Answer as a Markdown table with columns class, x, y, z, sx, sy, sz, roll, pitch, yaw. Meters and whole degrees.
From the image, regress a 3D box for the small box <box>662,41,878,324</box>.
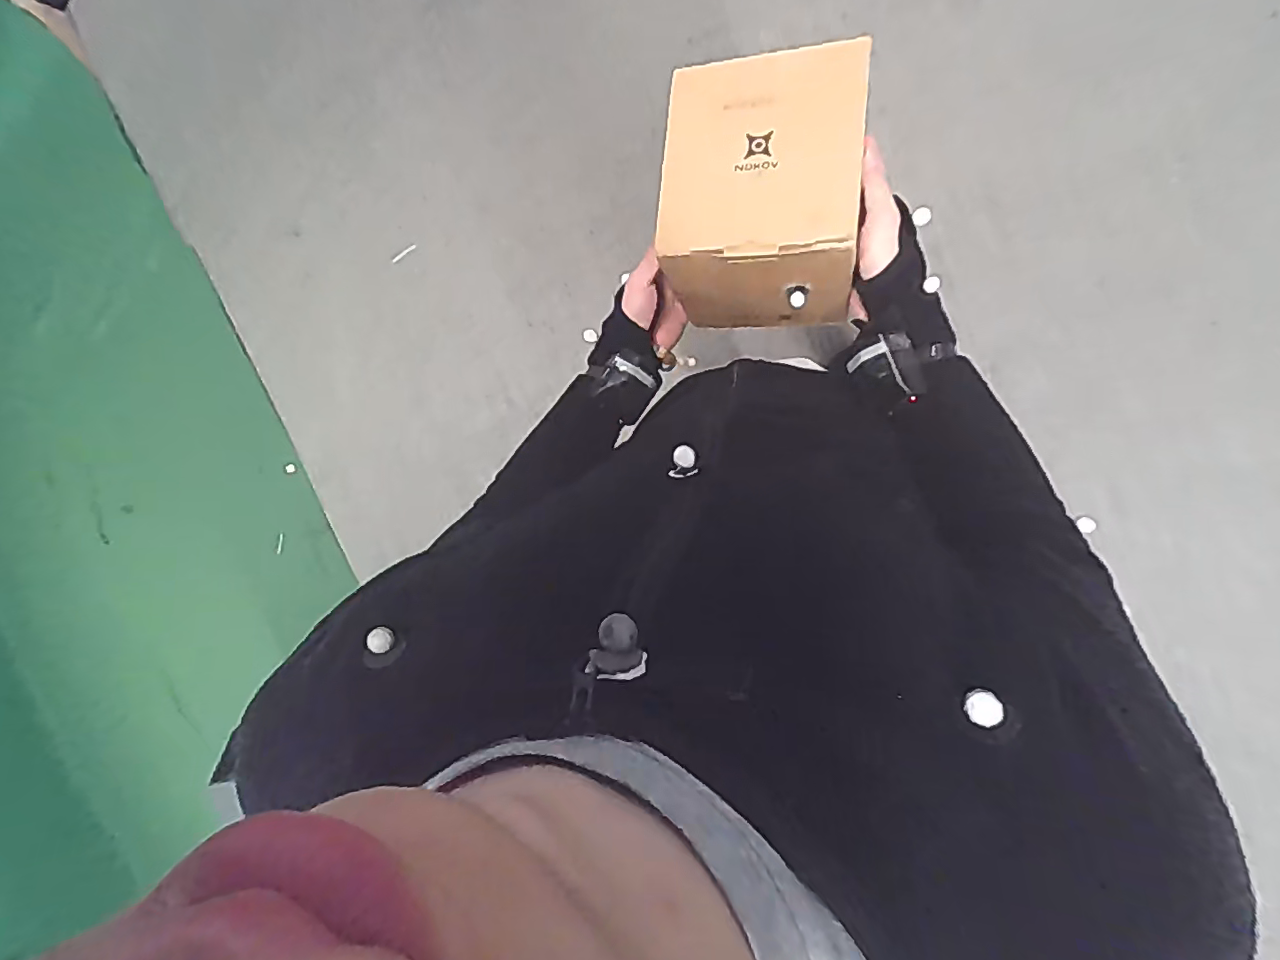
| class | x | y | z | sx | sy | sz | roll | pitch | yaw |
| --- | --- | --- | --- | --- | --- | --- | --- | --- | --- |
| small box | 0.128 | -0.262 | 0.524 | 0.168 | 0.176 | 0.179 | 4 | 83 | 17 |
